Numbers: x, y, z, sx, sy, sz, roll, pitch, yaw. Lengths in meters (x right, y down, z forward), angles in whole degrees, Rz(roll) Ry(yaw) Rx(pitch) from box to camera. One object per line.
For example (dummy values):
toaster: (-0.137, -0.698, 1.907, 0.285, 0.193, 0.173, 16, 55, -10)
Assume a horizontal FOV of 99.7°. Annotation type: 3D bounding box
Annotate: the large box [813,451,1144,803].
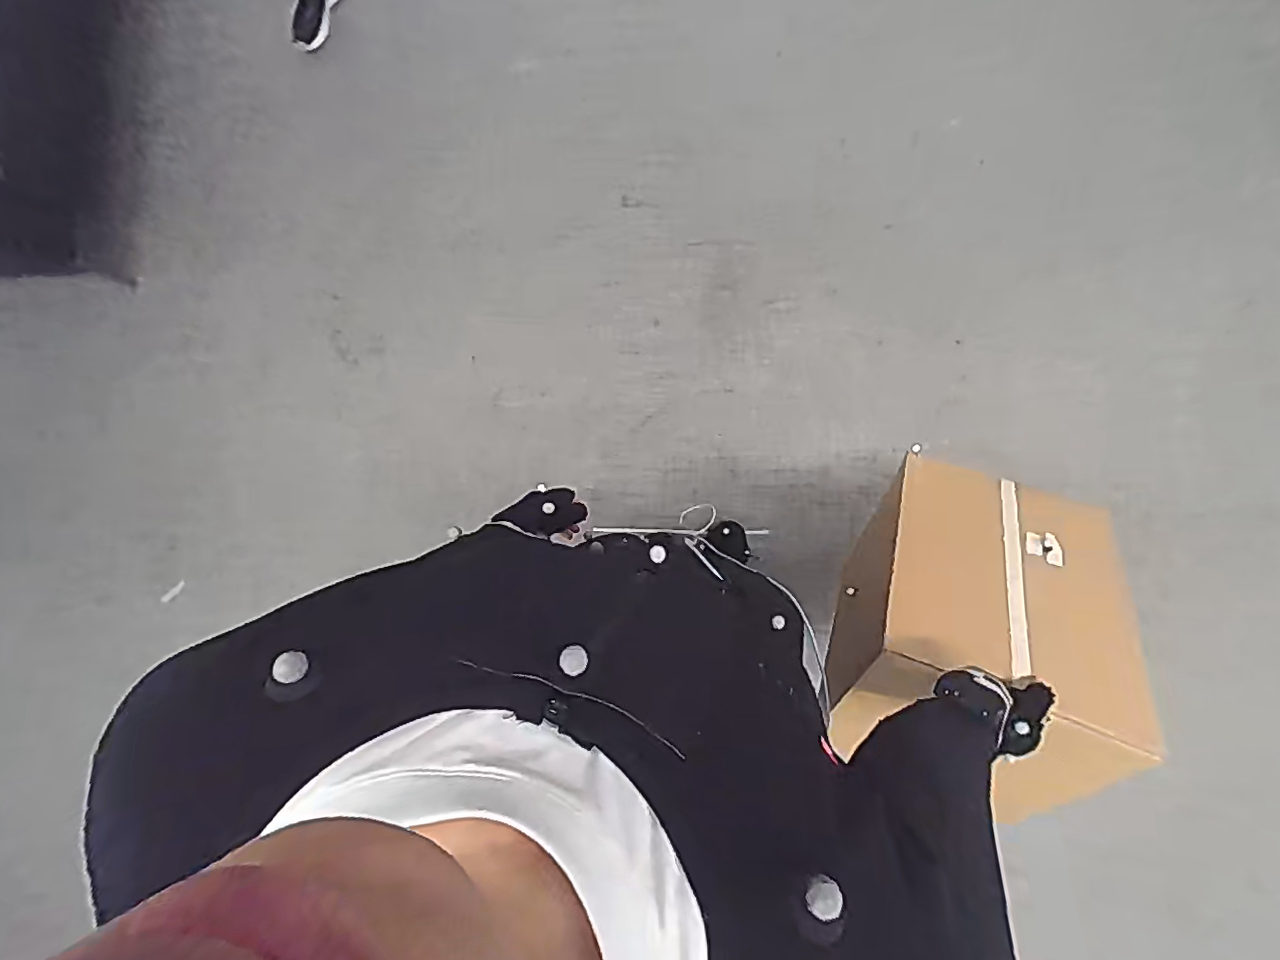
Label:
large box: (0.511, 0.229, 0.891, 0.320, 0.320, 0.408, 21, 49, 13)
